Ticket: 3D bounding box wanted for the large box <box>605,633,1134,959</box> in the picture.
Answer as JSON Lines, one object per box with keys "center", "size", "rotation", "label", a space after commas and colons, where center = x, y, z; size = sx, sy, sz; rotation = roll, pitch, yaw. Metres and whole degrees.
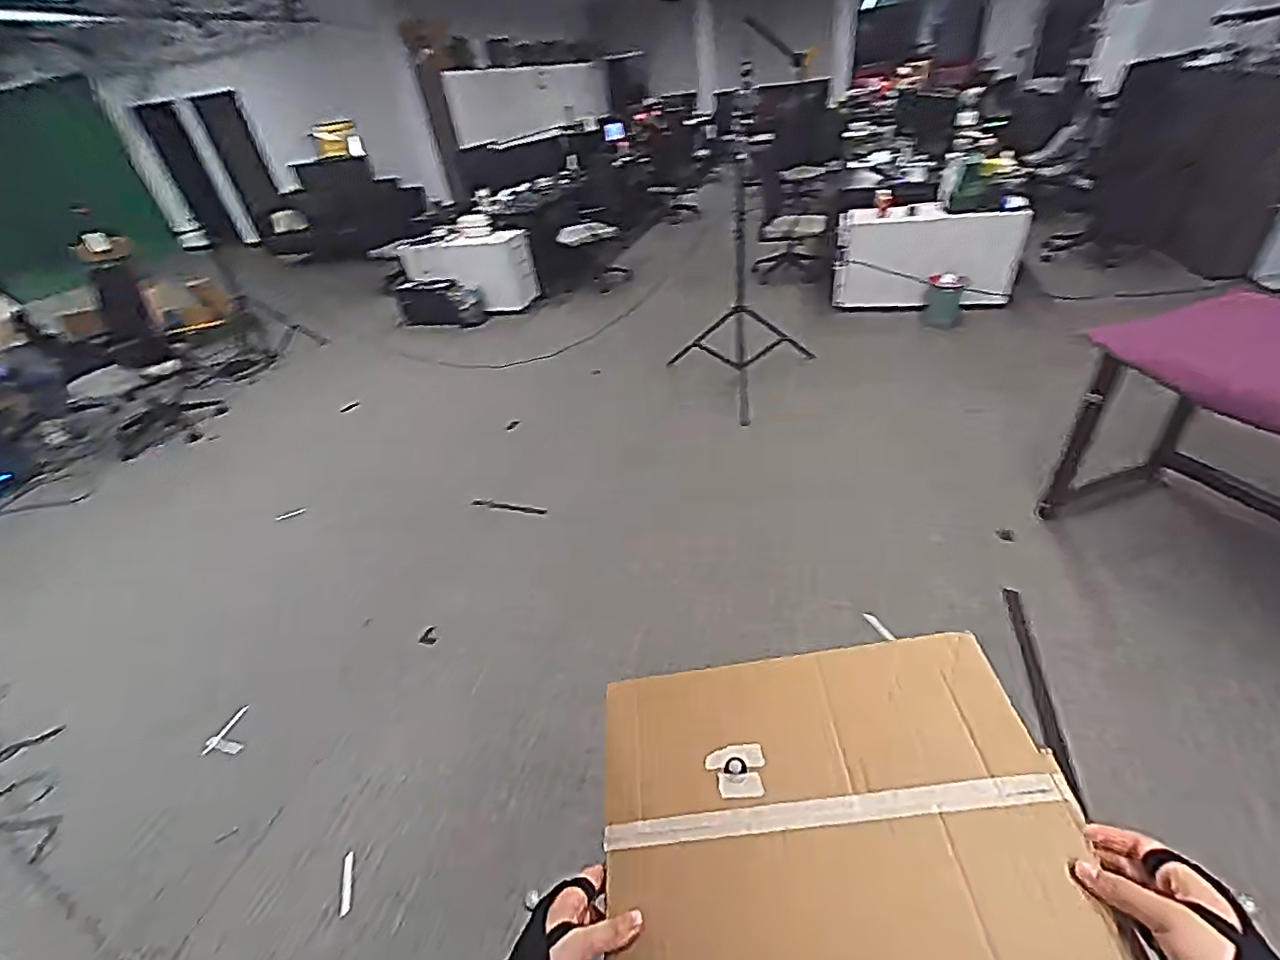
{"center": [0.199, 0.417, 0.599], "size": [0.408, 0.320, 0.320], "rotation": [-13, 41, 9], "label": "large box"}
